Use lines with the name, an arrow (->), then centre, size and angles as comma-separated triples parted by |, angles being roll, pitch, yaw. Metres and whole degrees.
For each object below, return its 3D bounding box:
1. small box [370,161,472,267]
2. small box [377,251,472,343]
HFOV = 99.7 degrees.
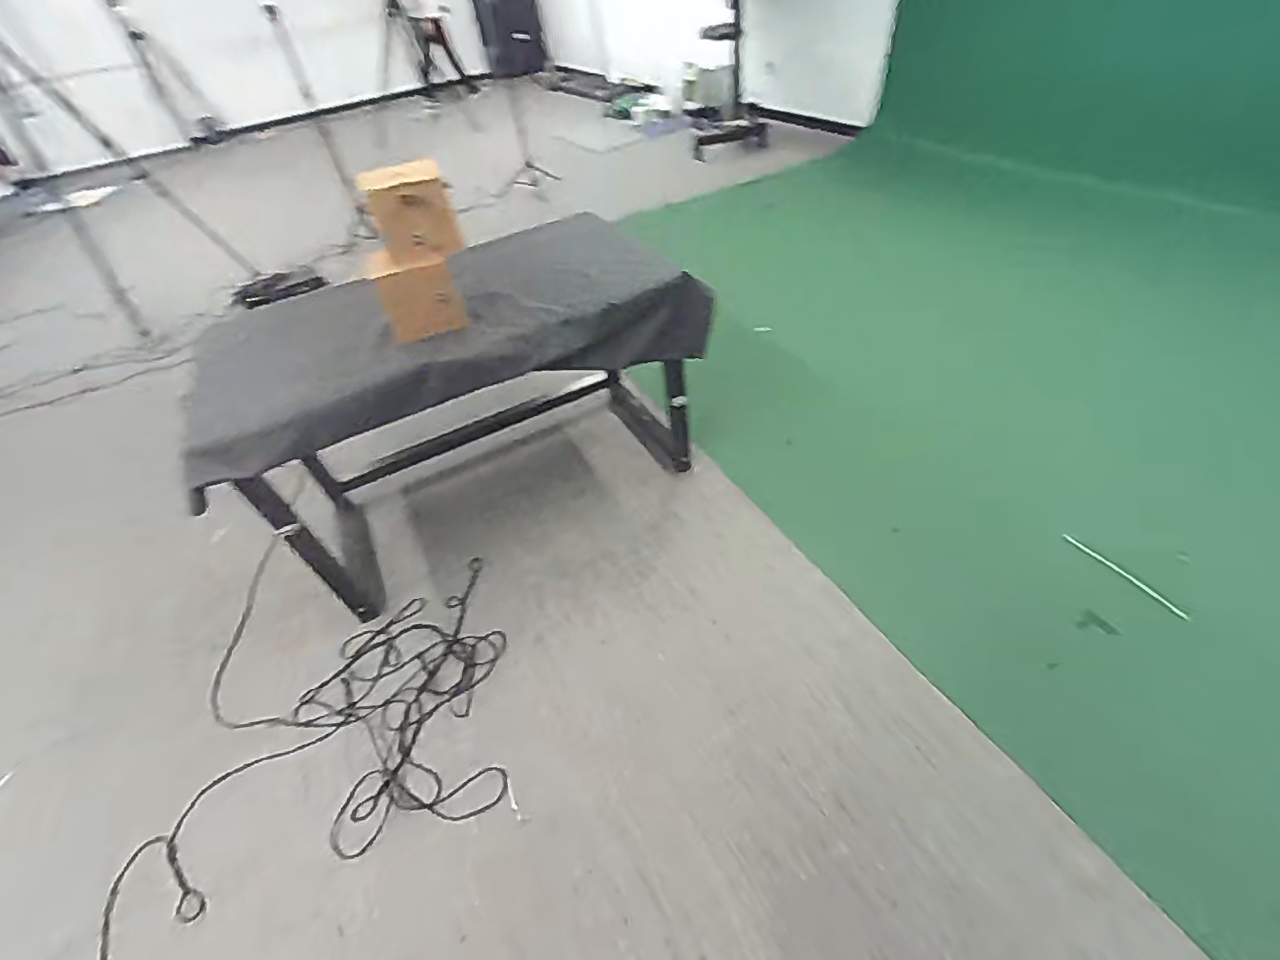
small box -> -0.503, -0.613, 1.248 | 0.168, 0.176, 0.179 | -20, 45, -11
small box -> -0.525, -0.463, 1.330 | 0.179, 0.176, 0.168 | -20, 44, -10
